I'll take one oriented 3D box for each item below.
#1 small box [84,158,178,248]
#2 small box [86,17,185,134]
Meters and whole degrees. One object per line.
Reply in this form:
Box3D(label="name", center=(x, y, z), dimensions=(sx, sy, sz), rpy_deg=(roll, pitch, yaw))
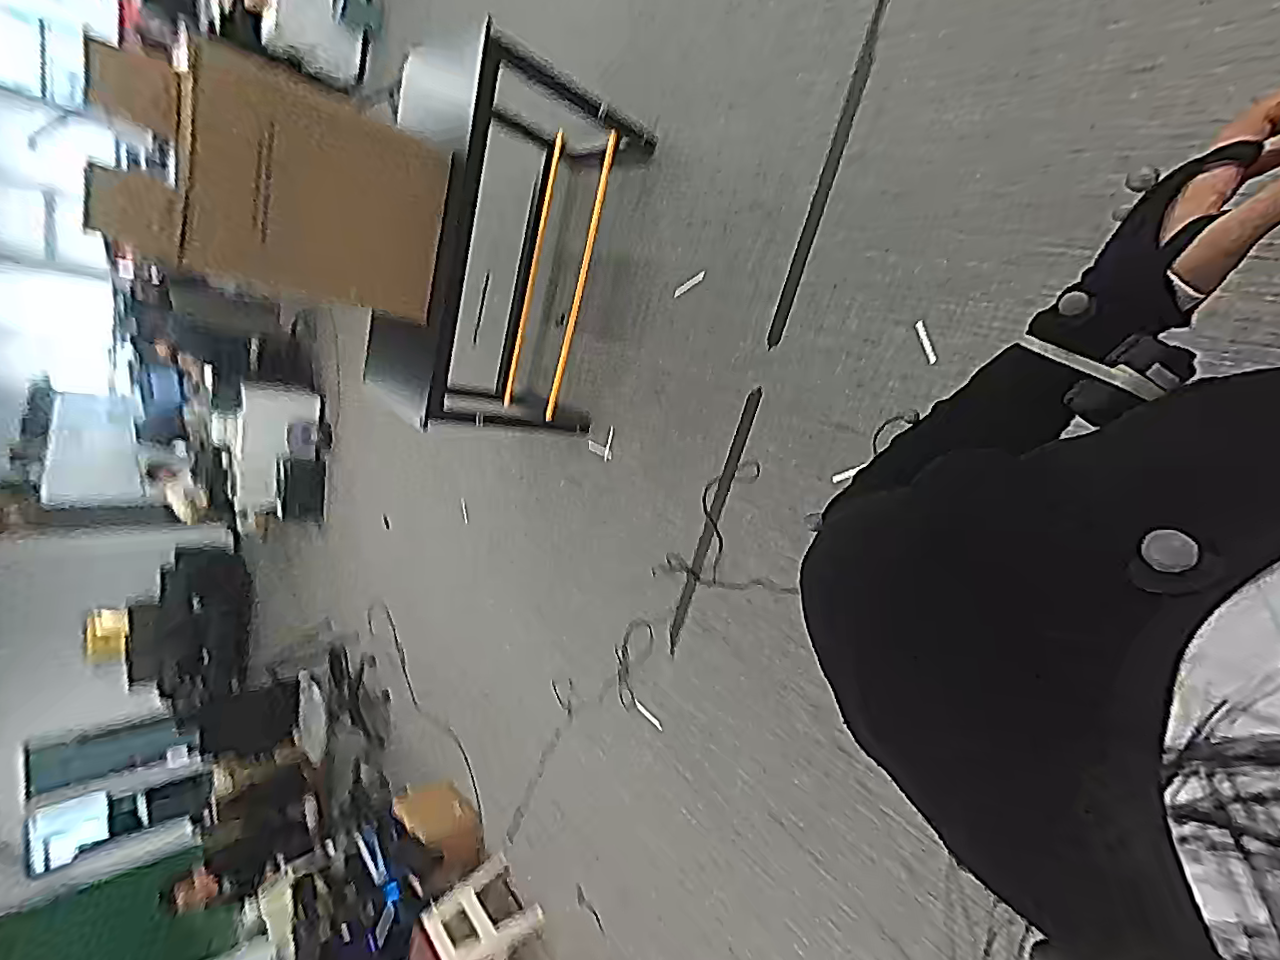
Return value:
Box3D(label="small box", center=(-1.348, -0.726, 1.435), dimensions=(0.179, 0.176, 0.168), rpy_deg=(27, 108, 43))
Box3D(label="small box", center=(-1.251, -0.989, 1.342), dimensions=(0.179, 0.176, 0.168), rpy_deg=(25, 109, 43))
